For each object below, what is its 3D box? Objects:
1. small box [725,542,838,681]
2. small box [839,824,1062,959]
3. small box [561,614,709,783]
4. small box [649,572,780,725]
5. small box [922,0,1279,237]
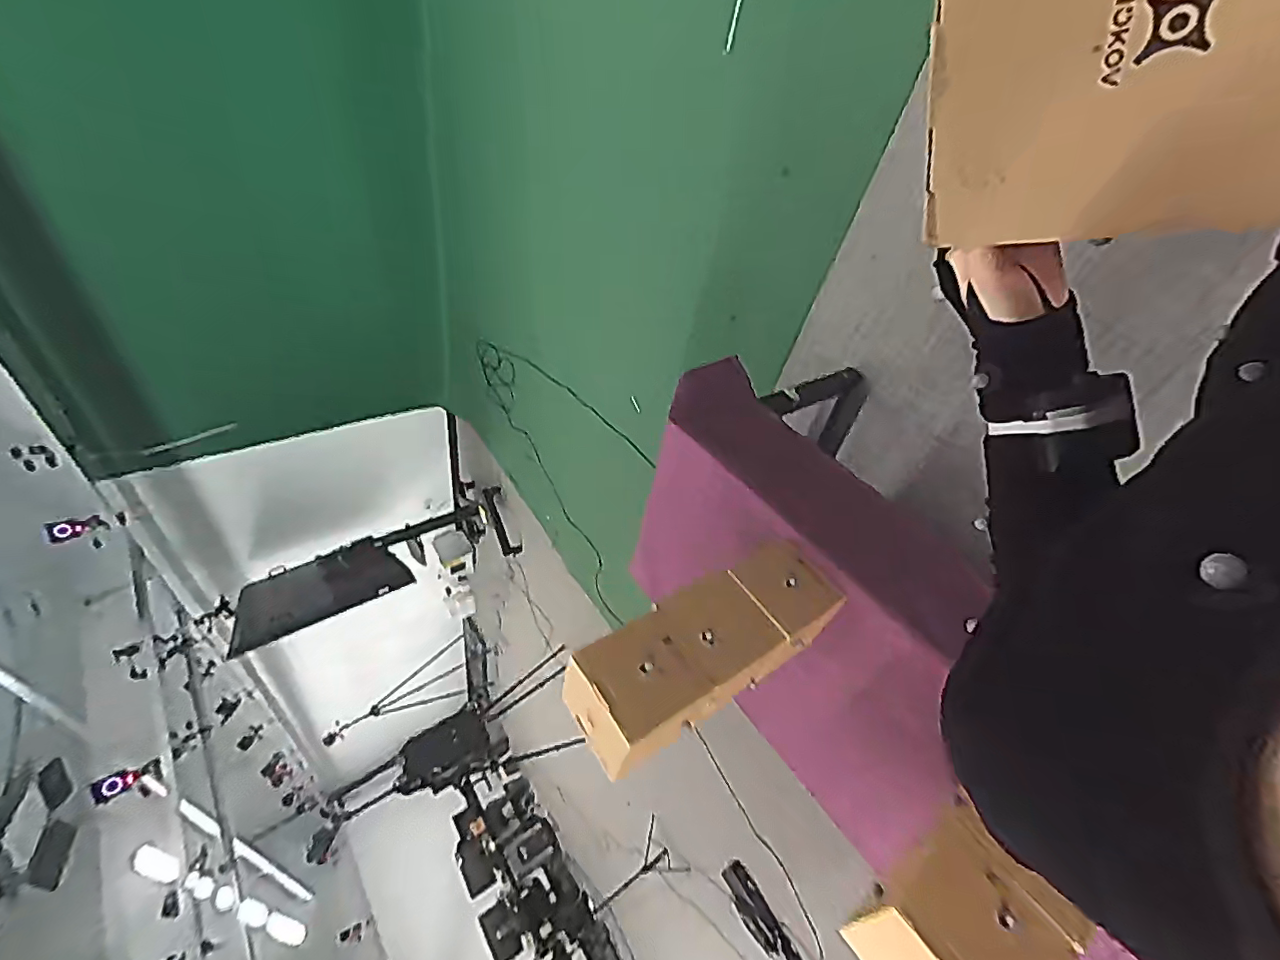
[{"bbox_3d":[0.256,0.251,1.063,0.168,0.176,0.179,49,143,30],"label":"small box"},{"bbox_3d":[0.413,0.612,0.728,0.168,0.176,0.179,46,141,32],"label":"small box"},{"bbox_3d":[-0.009,0.355,0.898,0.168,0.176,0.179,49,142,29],"label":"small box"},{"bbox_3d":[0.121,0.298,0.981,0.179,0.176,0.168,49,143,29],"label":"small box"},{"bbox_3d":[0.265,-0.238,0.276,0.179,0.176,0.168,12,132,34],"label":"small box"}]
